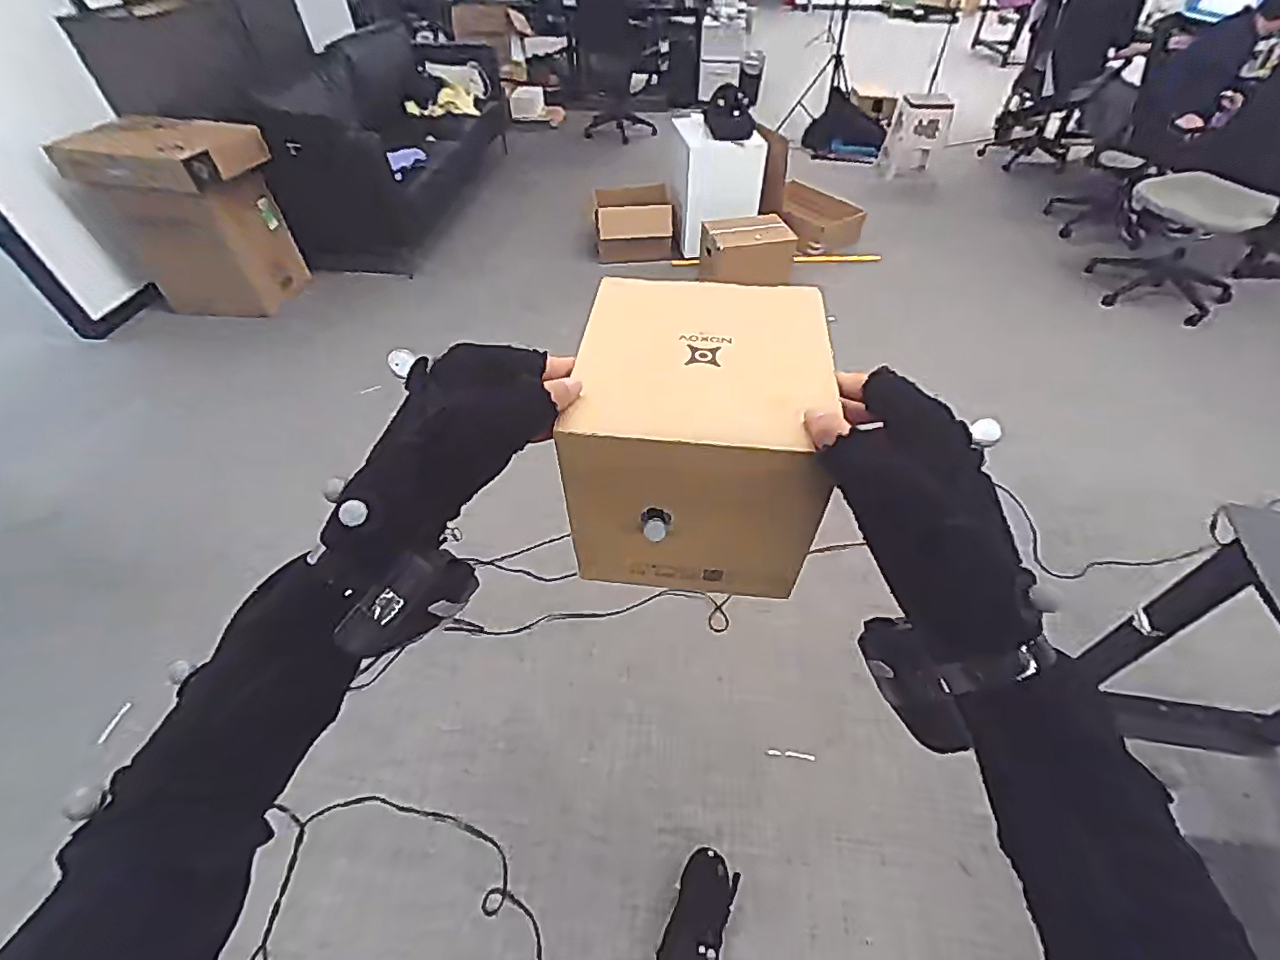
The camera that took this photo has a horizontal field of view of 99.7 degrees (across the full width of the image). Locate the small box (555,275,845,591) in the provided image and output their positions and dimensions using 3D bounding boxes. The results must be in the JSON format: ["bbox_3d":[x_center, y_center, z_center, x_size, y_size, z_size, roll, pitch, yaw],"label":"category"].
[{"bbox_3d":[0.044,-0.033,0.413,0.168,0.176,0.179,4,49,5],"label":"small box"}]
